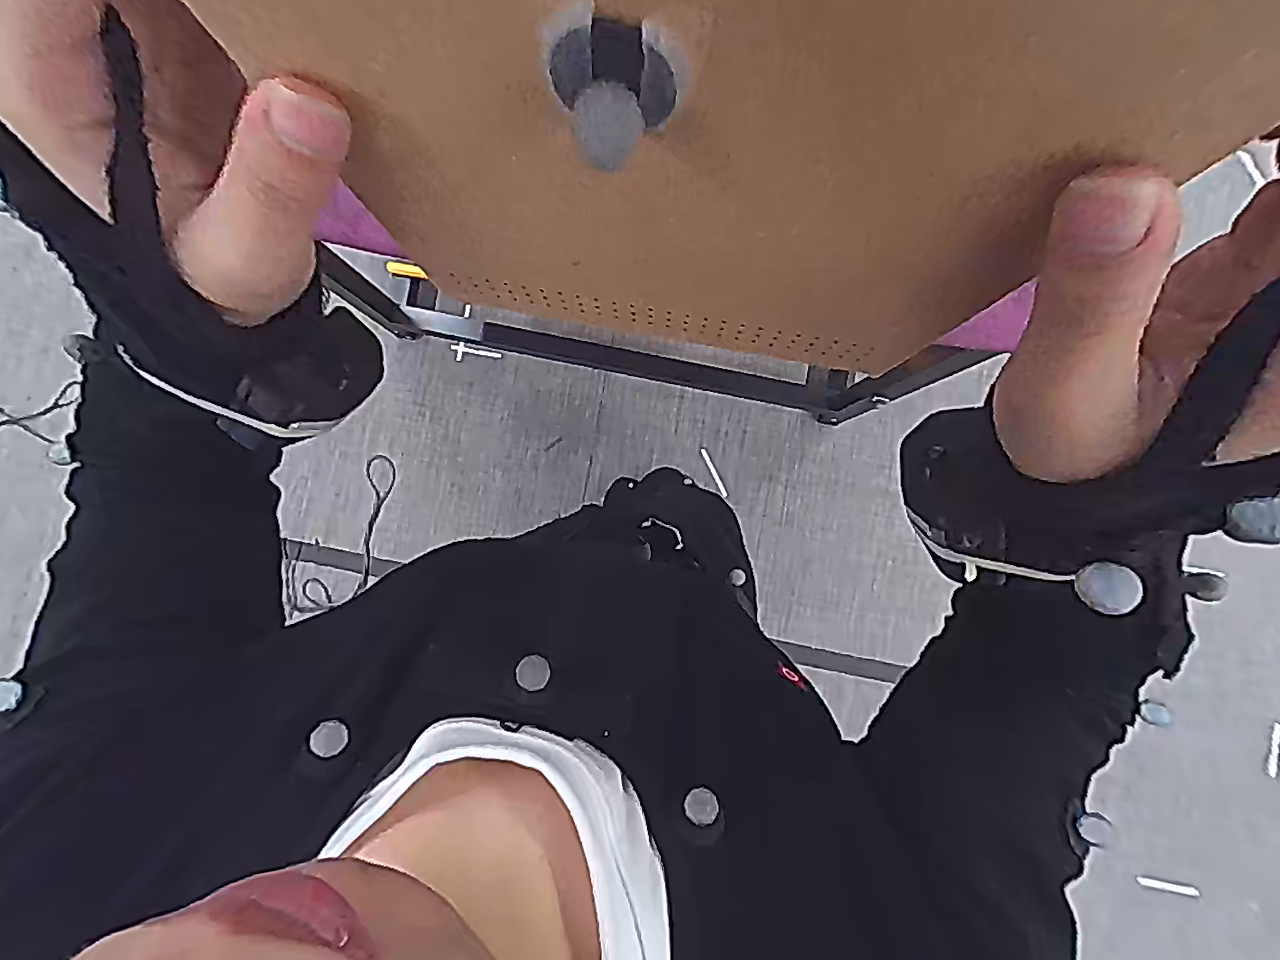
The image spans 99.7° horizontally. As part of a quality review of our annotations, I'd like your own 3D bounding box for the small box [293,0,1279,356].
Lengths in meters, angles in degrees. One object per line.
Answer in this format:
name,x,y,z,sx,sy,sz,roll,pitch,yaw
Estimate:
small box,0.028,-0.143,0.133,0.179,0.176,0.168,11,86,1
